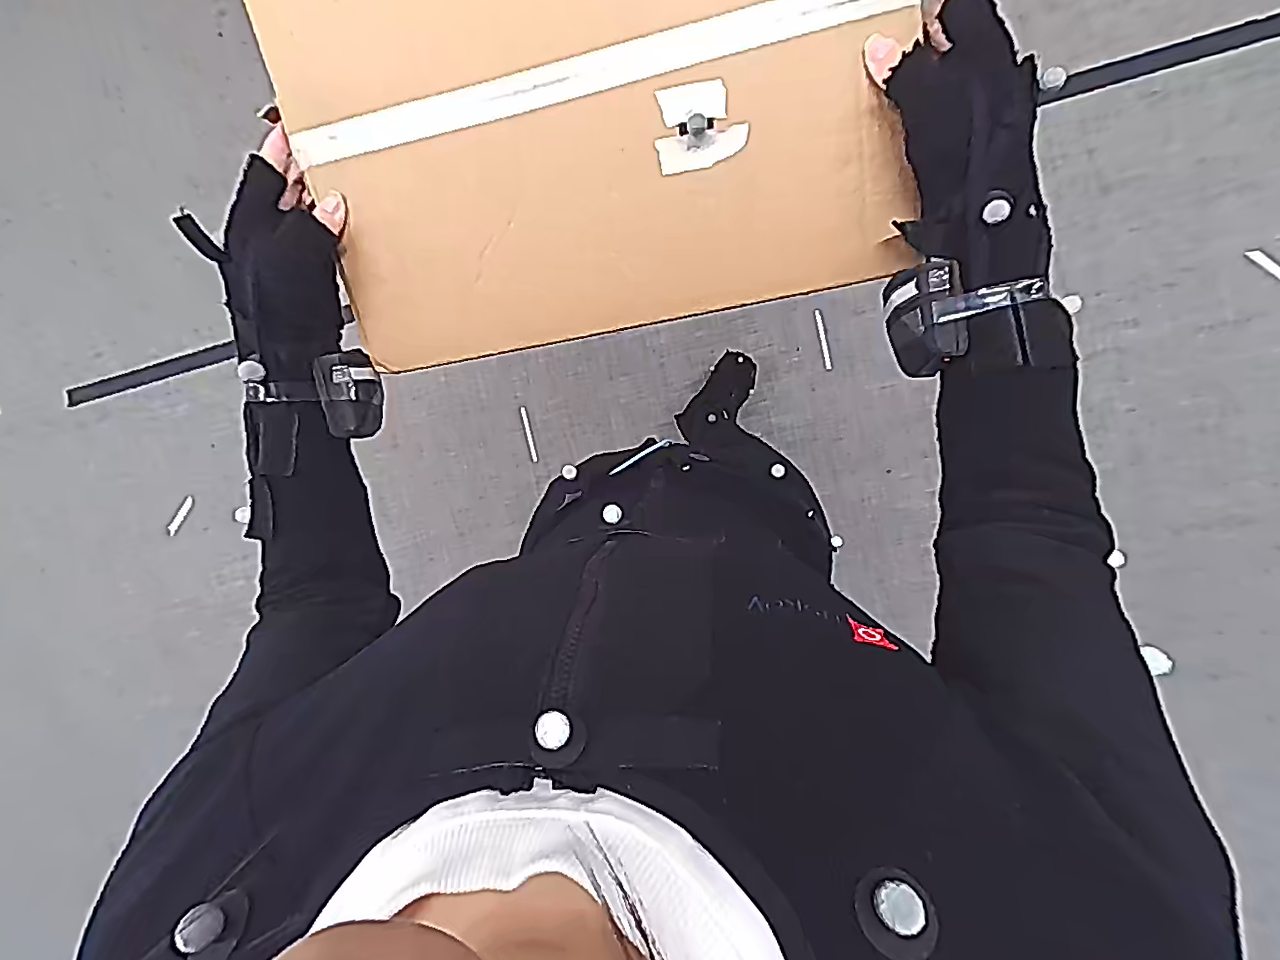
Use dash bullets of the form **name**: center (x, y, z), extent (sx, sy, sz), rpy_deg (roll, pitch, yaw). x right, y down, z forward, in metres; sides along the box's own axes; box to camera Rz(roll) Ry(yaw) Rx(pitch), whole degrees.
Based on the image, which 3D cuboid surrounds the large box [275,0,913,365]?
- **large box**: center (-0.022, -0.313, 0.501), extent (0.408, 0.320, 0.320), rpy_deg (-9, 109, 8)
